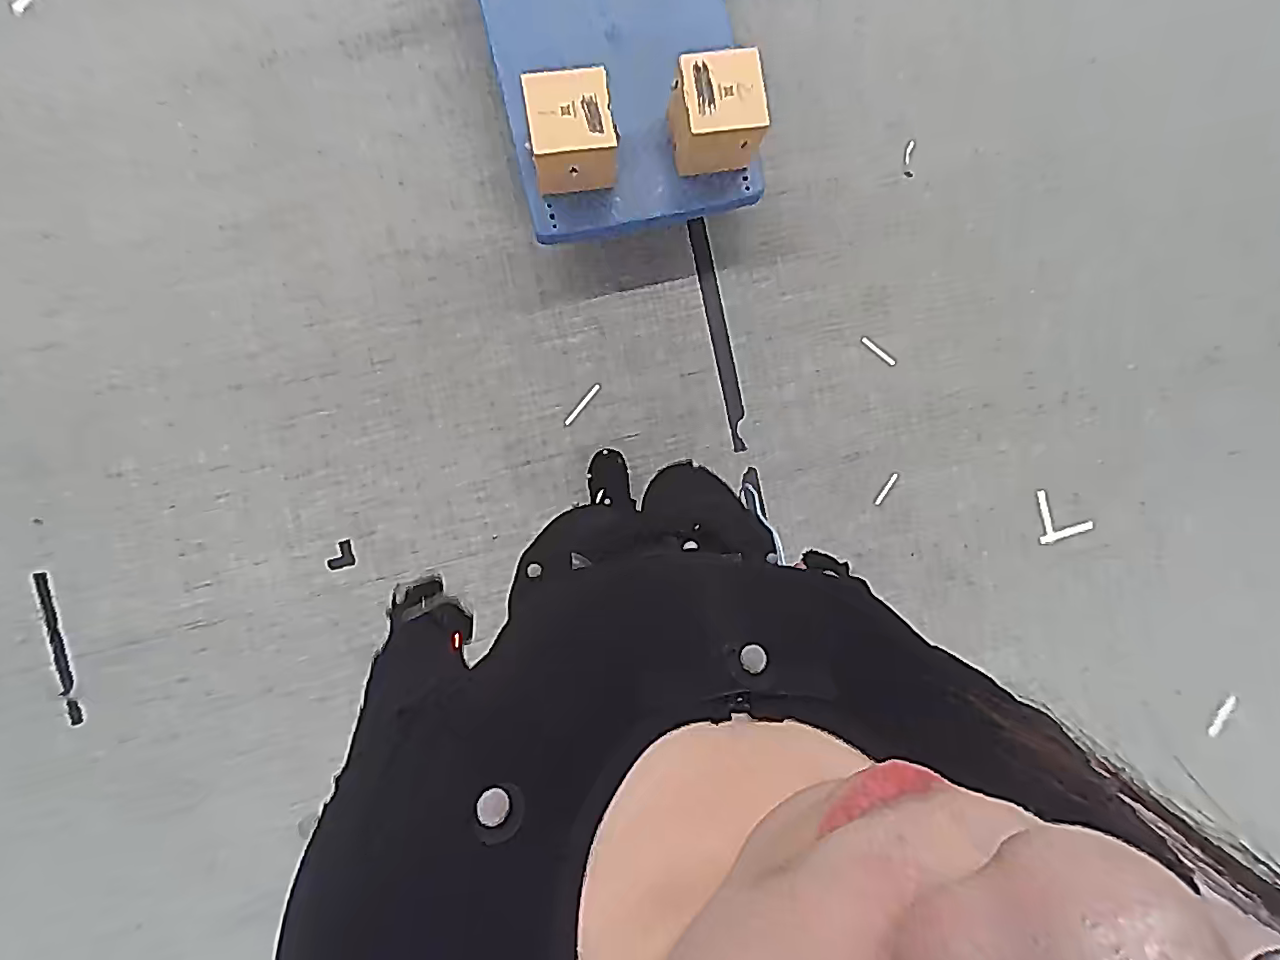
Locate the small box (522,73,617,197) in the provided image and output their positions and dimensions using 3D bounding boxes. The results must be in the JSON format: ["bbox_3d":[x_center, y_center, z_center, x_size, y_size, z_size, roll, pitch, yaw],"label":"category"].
[{"bbox_3d":[-0.152,-0.752,1.193,0.179,0.176,0.168,-9,92,-4],"label":"small box"}]
